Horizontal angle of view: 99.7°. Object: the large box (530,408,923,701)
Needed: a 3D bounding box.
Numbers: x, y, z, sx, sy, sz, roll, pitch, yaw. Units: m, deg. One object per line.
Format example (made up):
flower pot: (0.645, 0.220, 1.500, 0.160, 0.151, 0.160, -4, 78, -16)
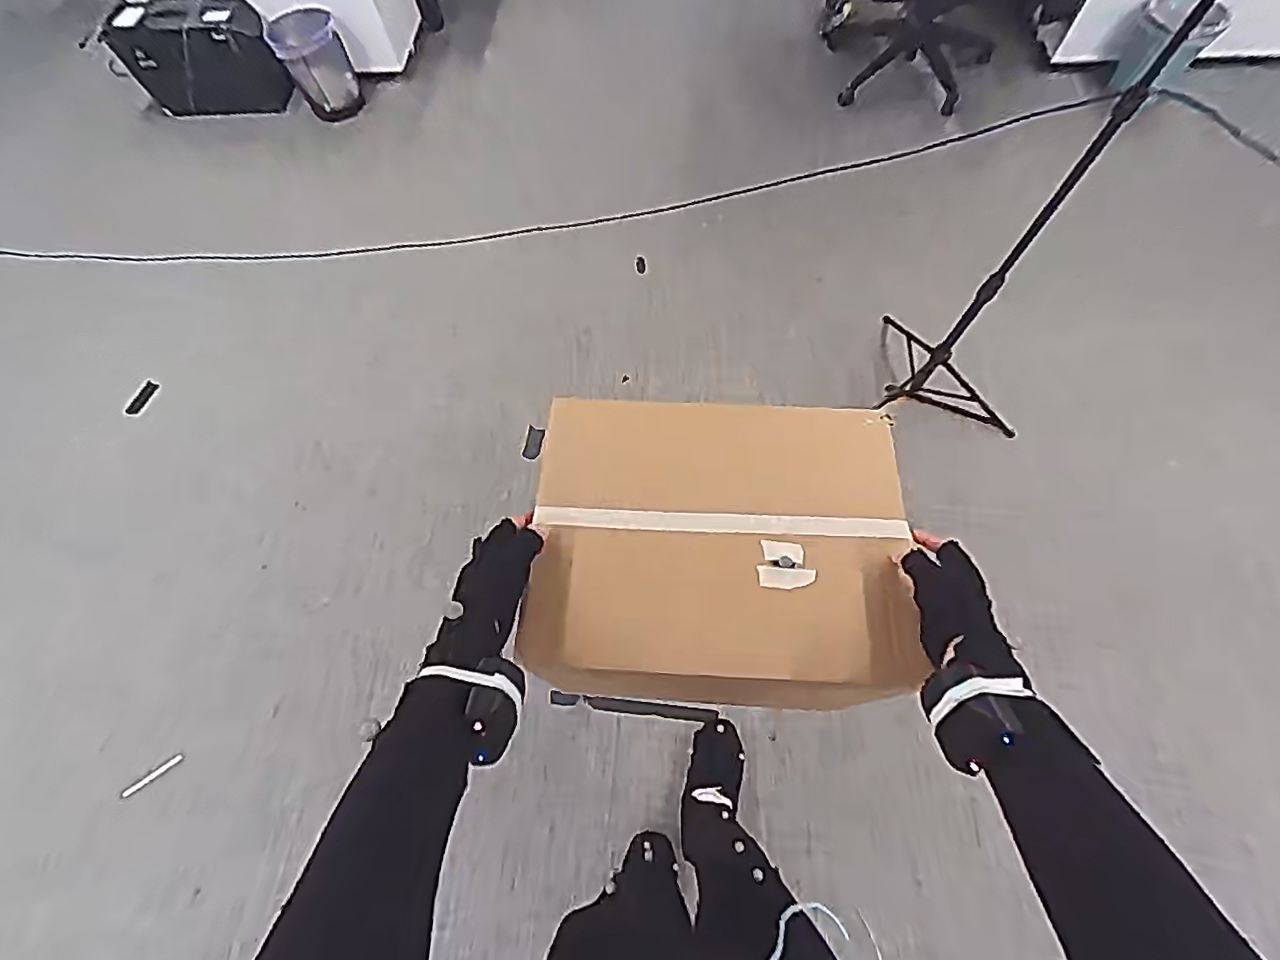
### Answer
large box: (0.092, 0.118, 0.739, 0.408, 0.320, 0.320, 2, 64, 2)
